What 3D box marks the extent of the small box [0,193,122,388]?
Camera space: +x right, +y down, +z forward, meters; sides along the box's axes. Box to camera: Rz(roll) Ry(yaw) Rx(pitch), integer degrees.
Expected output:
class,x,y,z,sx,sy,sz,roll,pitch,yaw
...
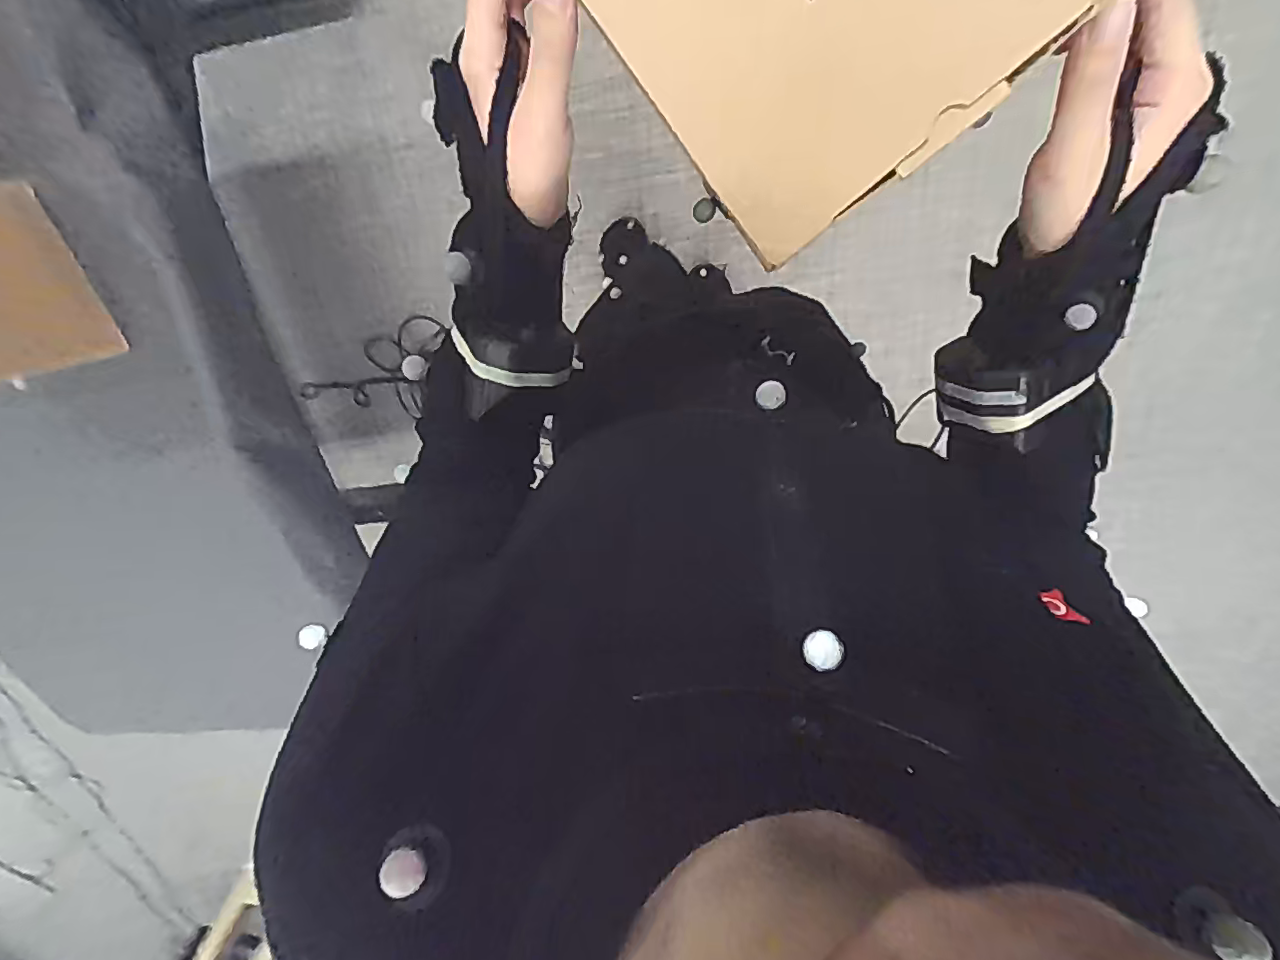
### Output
class,x,y,z,sx,sy,sz,roll,pitch,yaw
small box,-0.684,-0.174,0.521,0.168,0.176,0.179,-8,116,9
